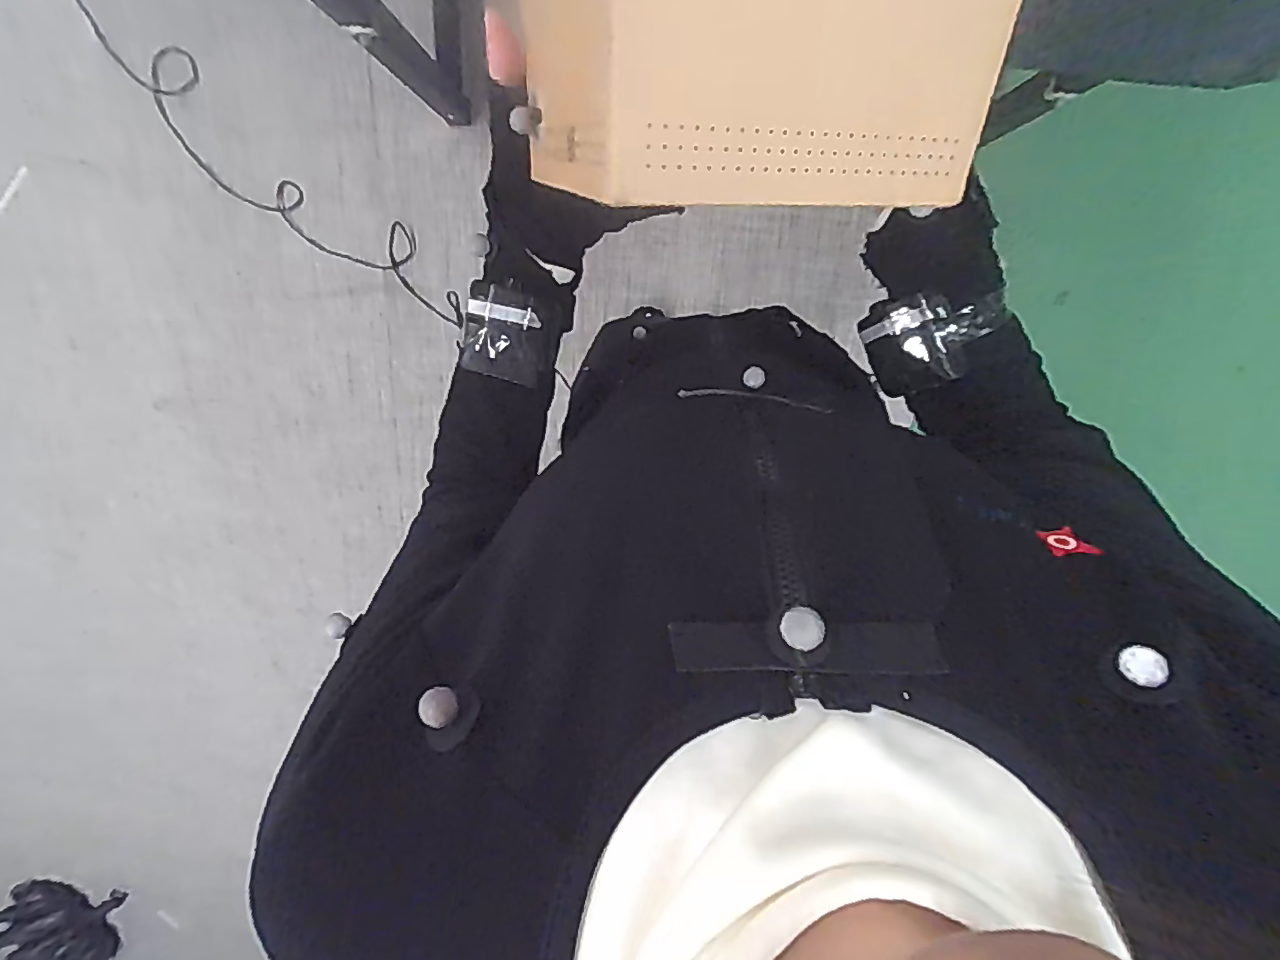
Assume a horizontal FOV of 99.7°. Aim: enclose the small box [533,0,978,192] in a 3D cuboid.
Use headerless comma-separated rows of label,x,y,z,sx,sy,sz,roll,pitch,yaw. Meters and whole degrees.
small box,0.045,-0.238,0.263,0.179,0.168,0.176,-8,123,-18
